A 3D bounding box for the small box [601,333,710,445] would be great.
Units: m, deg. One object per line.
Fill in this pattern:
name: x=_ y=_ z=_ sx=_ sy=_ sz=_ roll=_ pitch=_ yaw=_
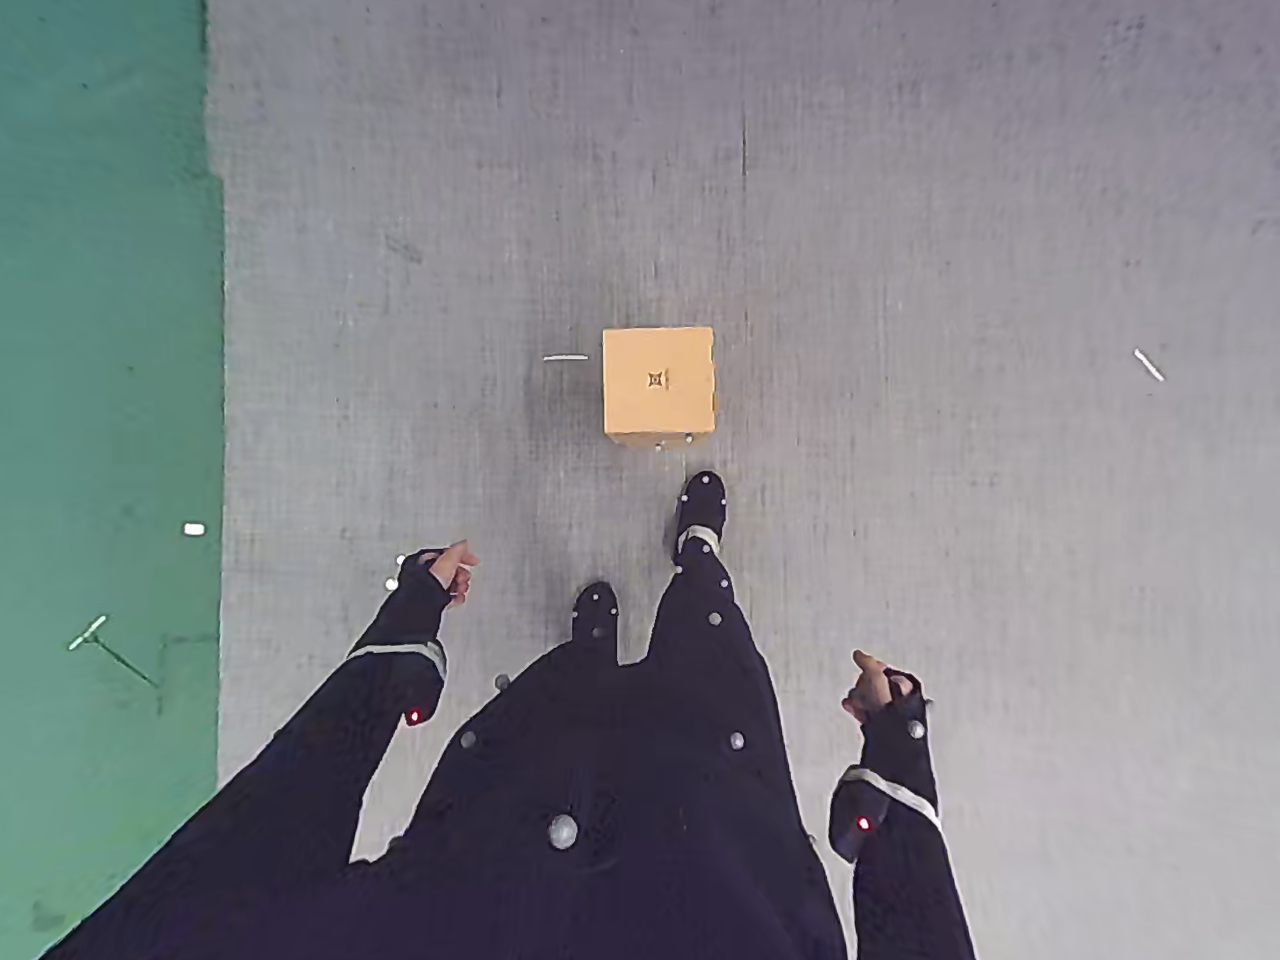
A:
small box: x=0.028 y=-0.151 z=0.947 sx=0.179 sy=0.176 sz=0.168 roll=-1 pitch=88 yaw=1
